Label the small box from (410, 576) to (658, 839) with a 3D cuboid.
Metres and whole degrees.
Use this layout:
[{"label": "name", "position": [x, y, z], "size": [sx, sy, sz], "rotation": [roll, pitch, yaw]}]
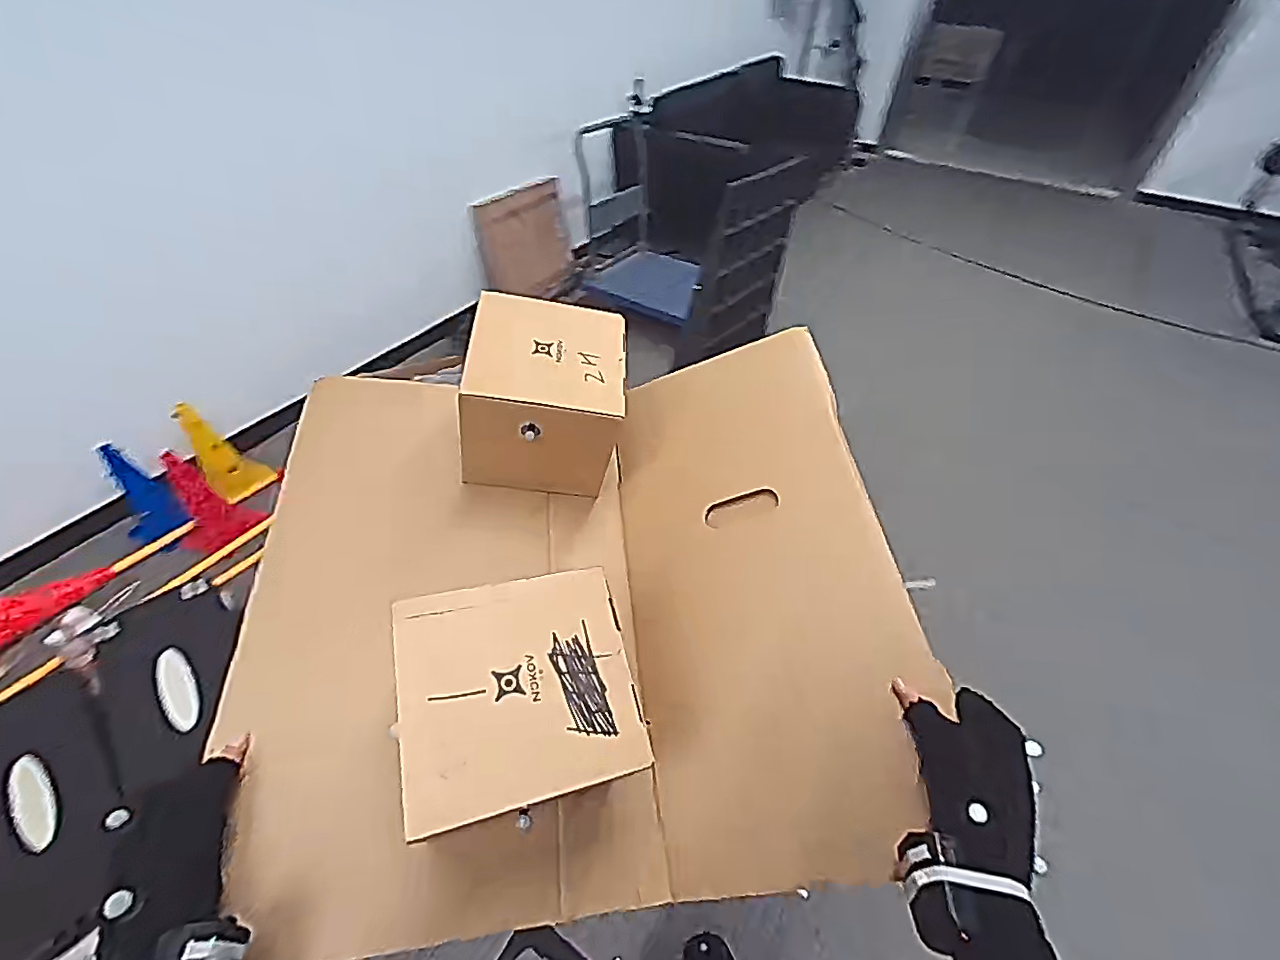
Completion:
[{"label": "small box", "position": [-0.103, 0.203, 0.488], "size": [0.179, 0.176, 0.168], "rotation": [-6, 60, -18]}]
